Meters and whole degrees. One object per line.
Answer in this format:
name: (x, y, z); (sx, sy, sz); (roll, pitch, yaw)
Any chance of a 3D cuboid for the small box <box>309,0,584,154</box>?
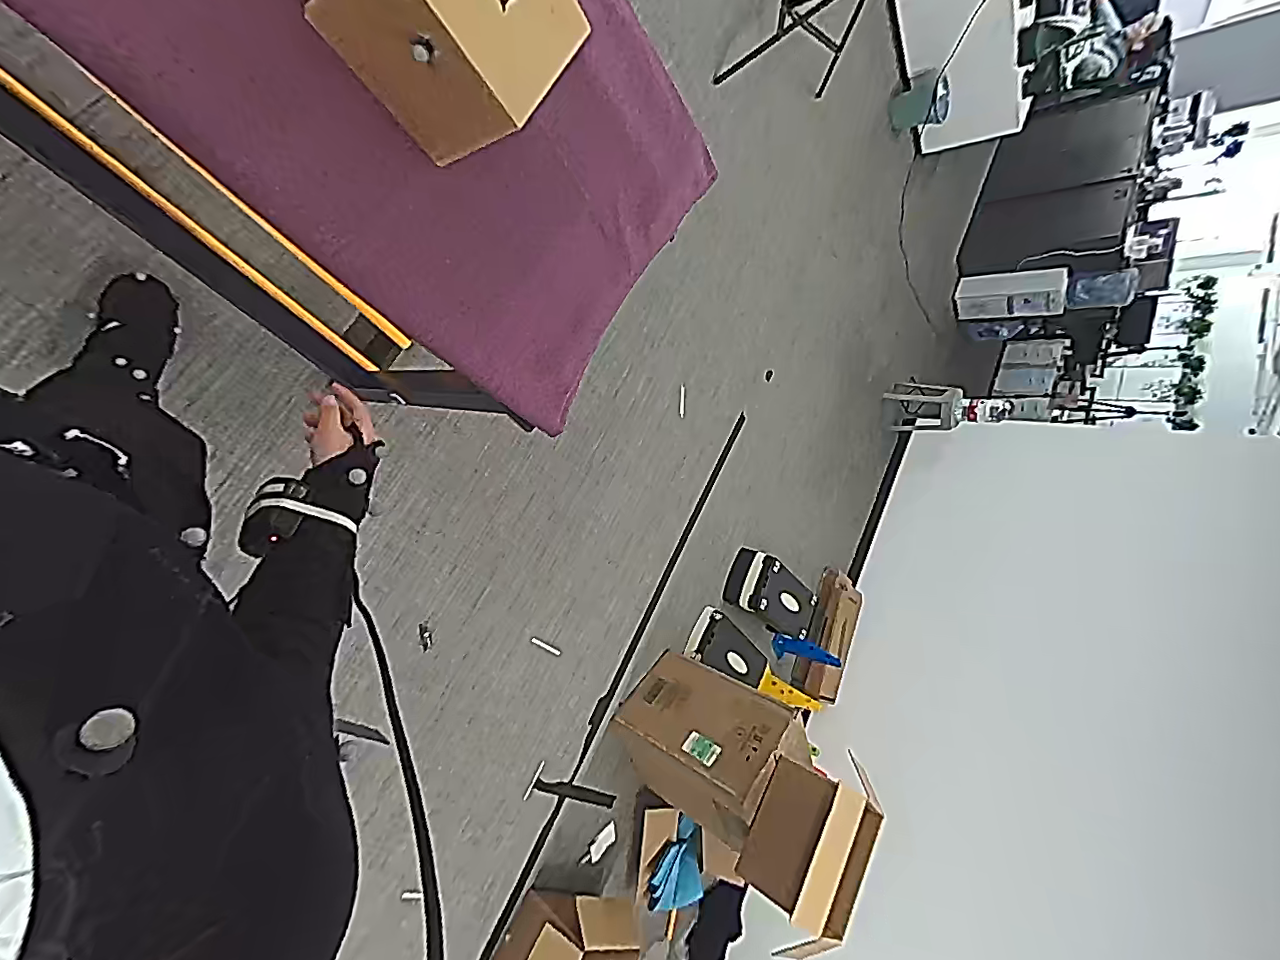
small box: (-0.199, -0.478, 0.568); (0.179, 0.176, 0.168); (43, 66, -44)
